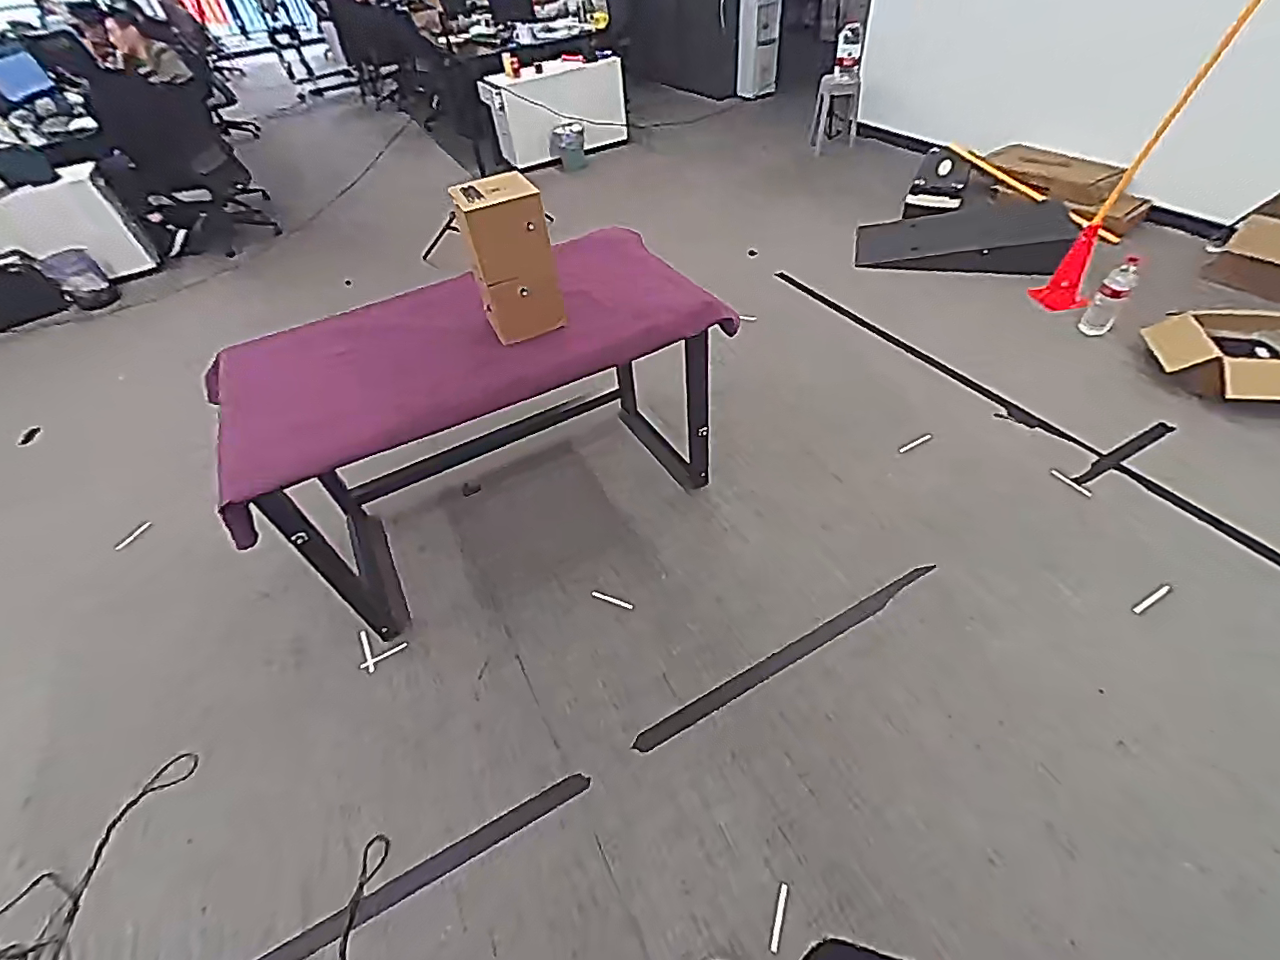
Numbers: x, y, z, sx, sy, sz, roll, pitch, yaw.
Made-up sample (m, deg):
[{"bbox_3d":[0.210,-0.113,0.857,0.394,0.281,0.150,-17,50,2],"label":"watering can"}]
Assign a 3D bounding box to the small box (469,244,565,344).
[{"bbox_3d":[-0.310,-0.473,1.385,0.179,0.176,0.168,-23,50,-15],"label":"small box"}]
